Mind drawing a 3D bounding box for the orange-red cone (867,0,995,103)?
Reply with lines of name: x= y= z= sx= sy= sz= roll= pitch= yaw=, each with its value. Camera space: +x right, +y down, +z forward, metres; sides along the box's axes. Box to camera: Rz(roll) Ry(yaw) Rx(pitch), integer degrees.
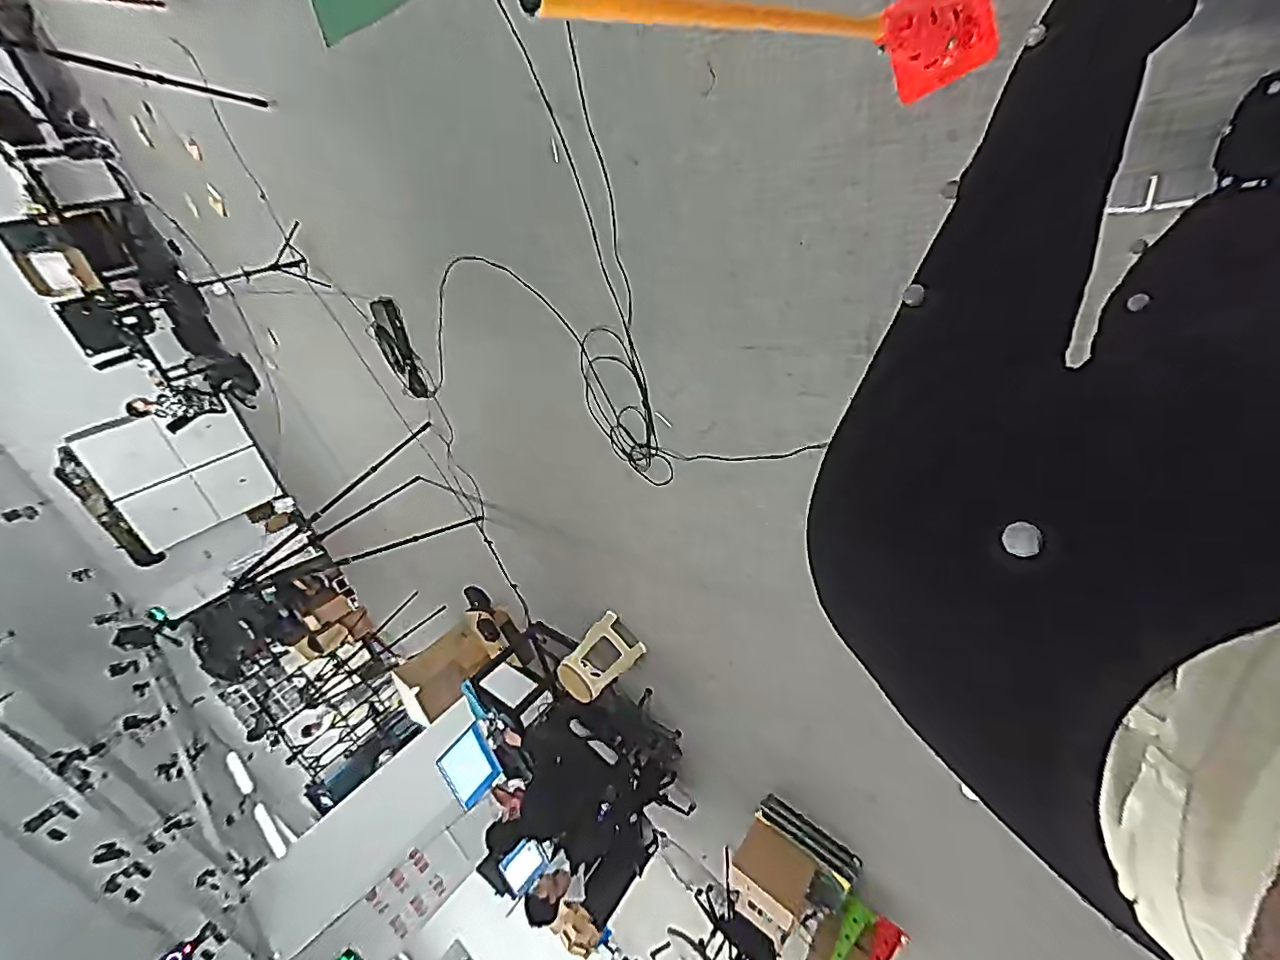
orange-red cone: x=0.538 y=-0.885 z=1.074 sx=0.199 sy=0.360 sz=0.198 roll=-1 pitch=117 yaw=49
